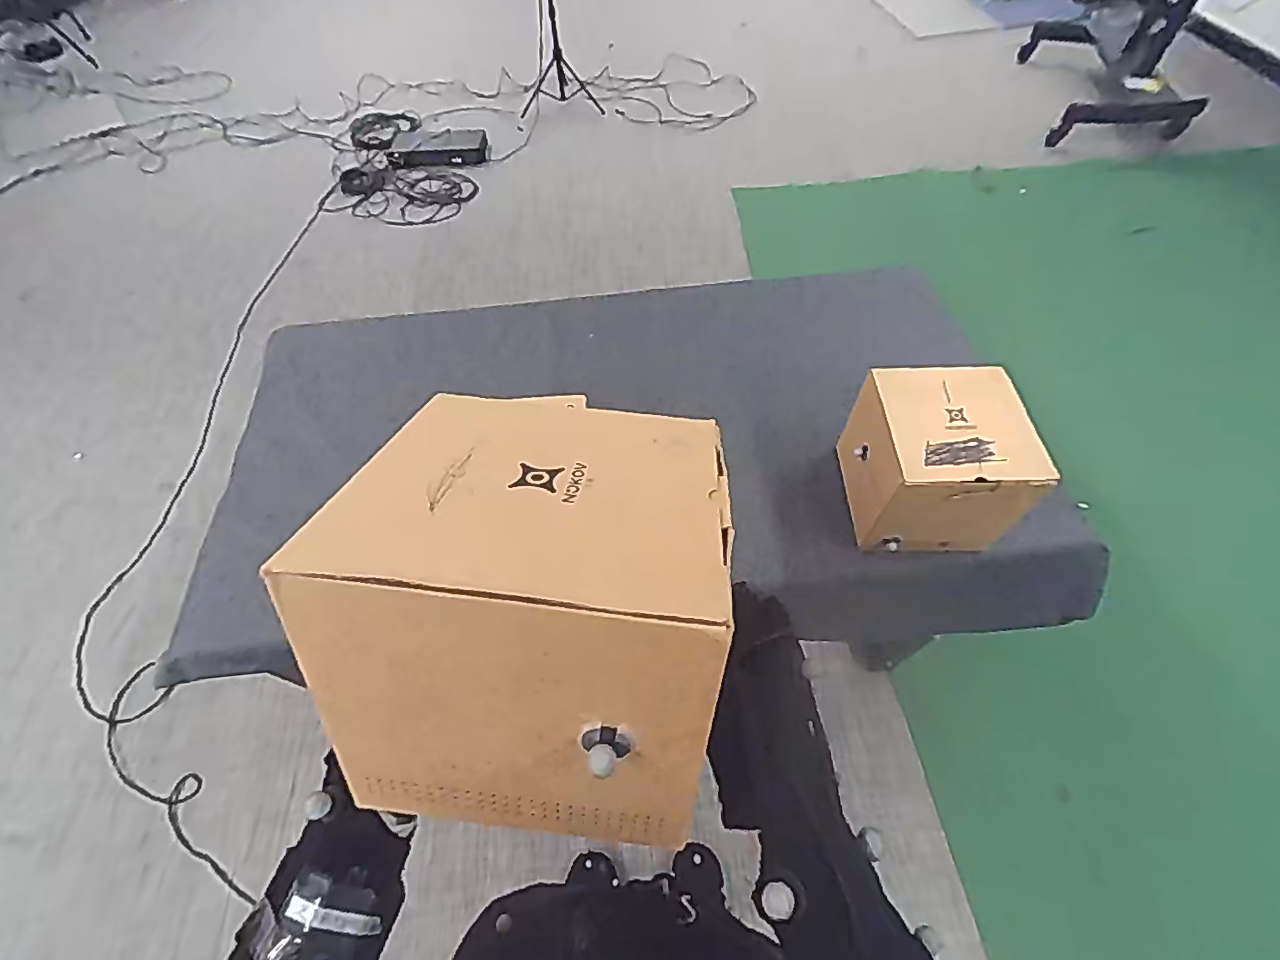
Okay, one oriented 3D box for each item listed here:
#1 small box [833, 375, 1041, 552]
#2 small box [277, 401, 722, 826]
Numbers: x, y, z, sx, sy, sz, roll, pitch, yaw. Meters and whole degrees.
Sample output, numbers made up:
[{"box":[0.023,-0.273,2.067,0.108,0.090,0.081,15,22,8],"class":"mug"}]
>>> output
[{"box":[0.367,-0.016,0.710,0.168,0.176,0.179,0,56,2],"class":"small box"},{"box":[-0.054,0.071,0.315,0.179,0.176,0.168,5,31,2],"class":"small box"}]
